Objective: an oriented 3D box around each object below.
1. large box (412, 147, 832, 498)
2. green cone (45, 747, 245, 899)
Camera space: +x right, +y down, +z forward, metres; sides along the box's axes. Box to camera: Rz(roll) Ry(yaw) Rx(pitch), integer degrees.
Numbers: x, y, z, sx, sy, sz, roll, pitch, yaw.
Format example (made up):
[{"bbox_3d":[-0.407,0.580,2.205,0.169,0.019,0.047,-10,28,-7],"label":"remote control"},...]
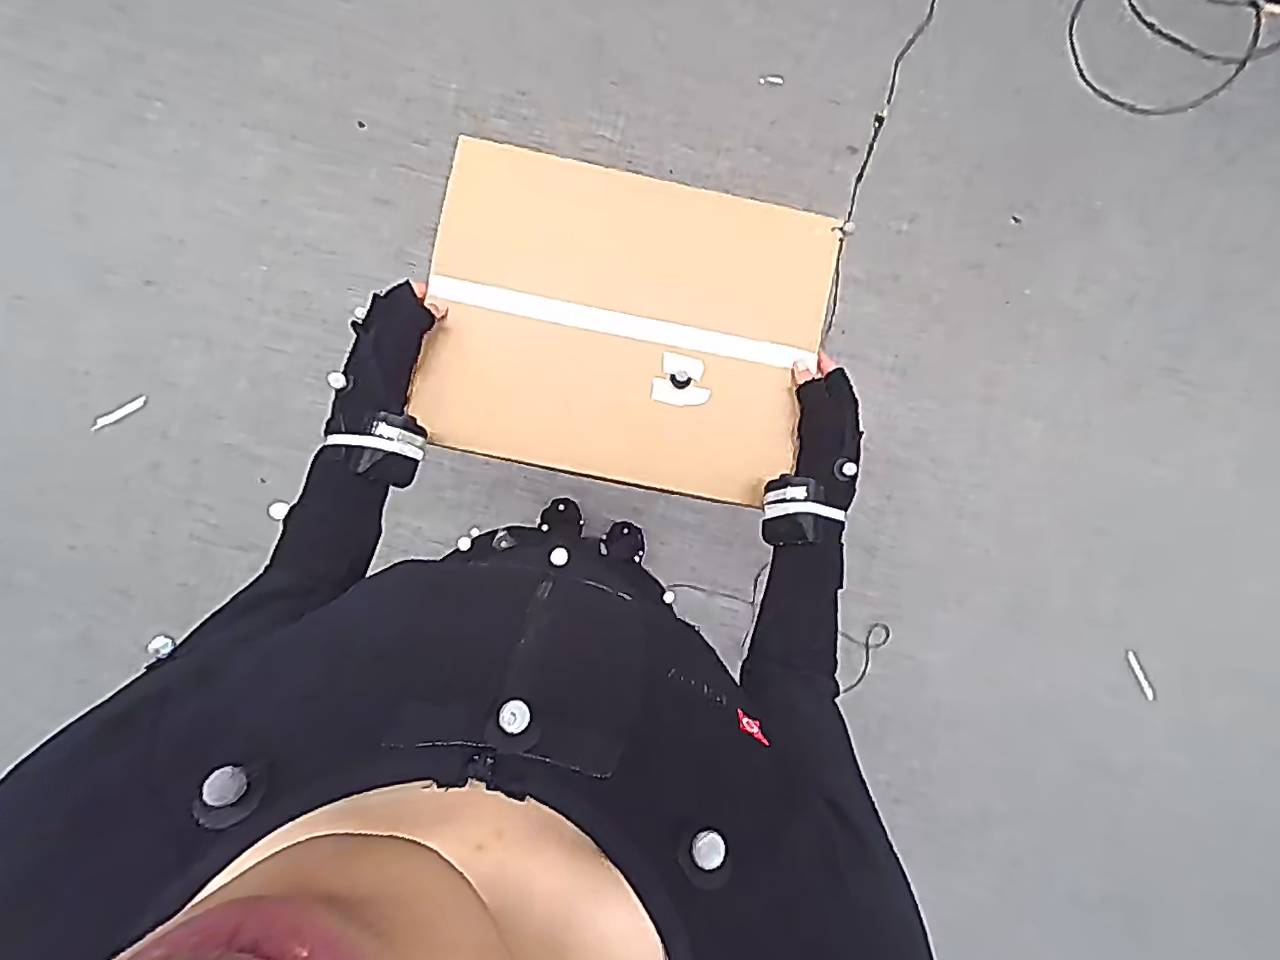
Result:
[{"bbox_3d":[-0.024,-0.160,0.711,0.408,0.320,0.320,11,89,-3],"label":"large box"},{"bbox_3d":[-1.163,0.820,1.257,0.202,0.368,0.200,-22,88,-1],"label":"green cone"}]
